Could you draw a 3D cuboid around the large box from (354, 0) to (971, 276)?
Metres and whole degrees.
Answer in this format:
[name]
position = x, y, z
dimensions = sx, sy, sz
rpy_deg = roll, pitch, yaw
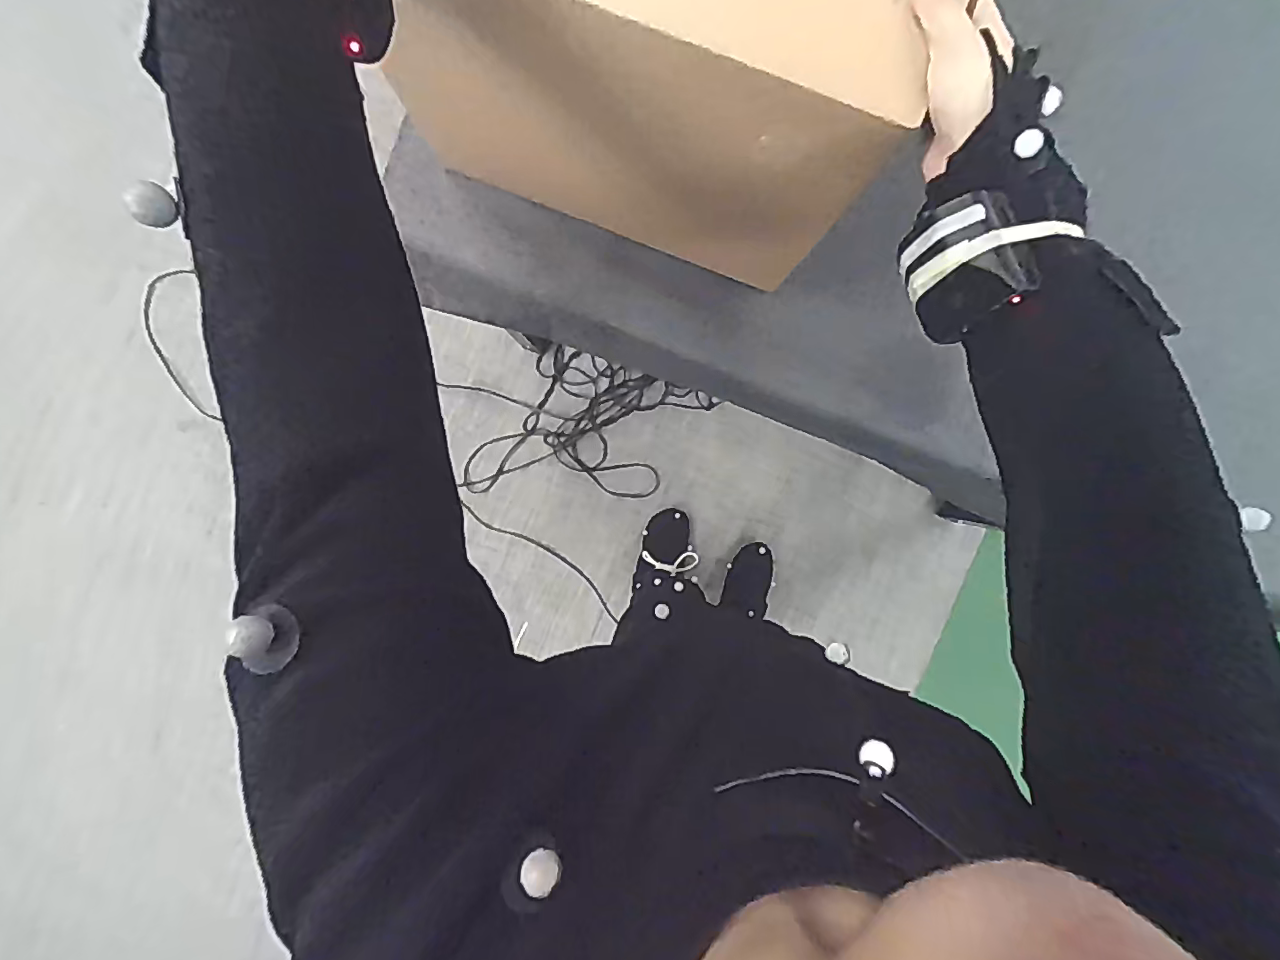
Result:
[large box]
position = 0.024, -0.424, 0.451
dimensions = 0.408, 0.320, 0.320
rpy_deg = 19, 93, -3
